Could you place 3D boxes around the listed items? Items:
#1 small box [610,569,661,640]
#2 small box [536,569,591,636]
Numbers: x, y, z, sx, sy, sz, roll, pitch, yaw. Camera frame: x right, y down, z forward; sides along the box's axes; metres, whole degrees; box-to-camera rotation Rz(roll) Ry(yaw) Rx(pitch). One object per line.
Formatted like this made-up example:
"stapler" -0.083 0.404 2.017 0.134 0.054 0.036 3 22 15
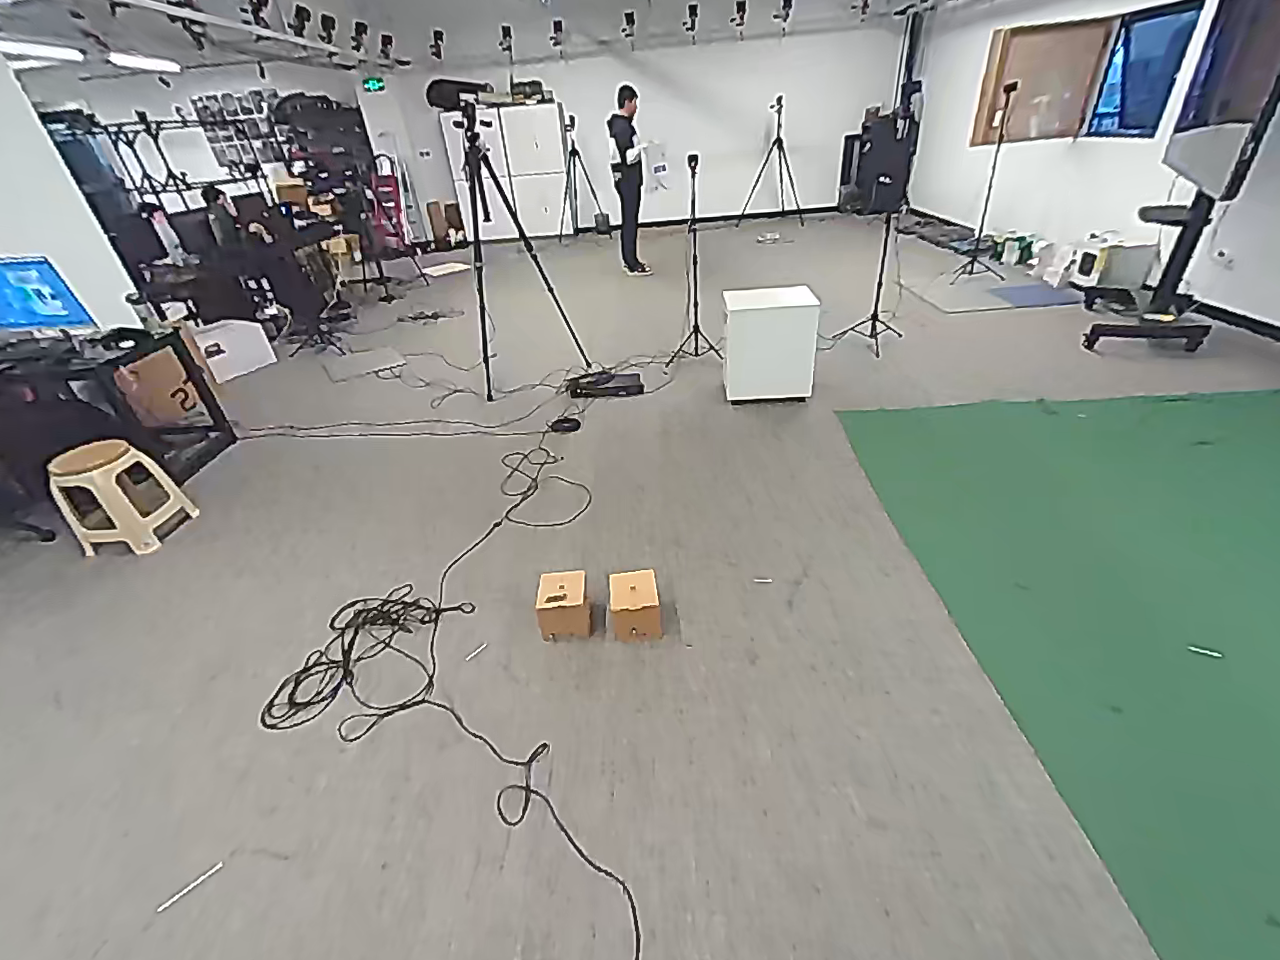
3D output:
"small box" -0.017 0.443 1.925 0.168 0.176 0.179 -7 35 -2
"small box" -0.271 0.447 1.951 0.168 0.176 0.179 -5 33 1
